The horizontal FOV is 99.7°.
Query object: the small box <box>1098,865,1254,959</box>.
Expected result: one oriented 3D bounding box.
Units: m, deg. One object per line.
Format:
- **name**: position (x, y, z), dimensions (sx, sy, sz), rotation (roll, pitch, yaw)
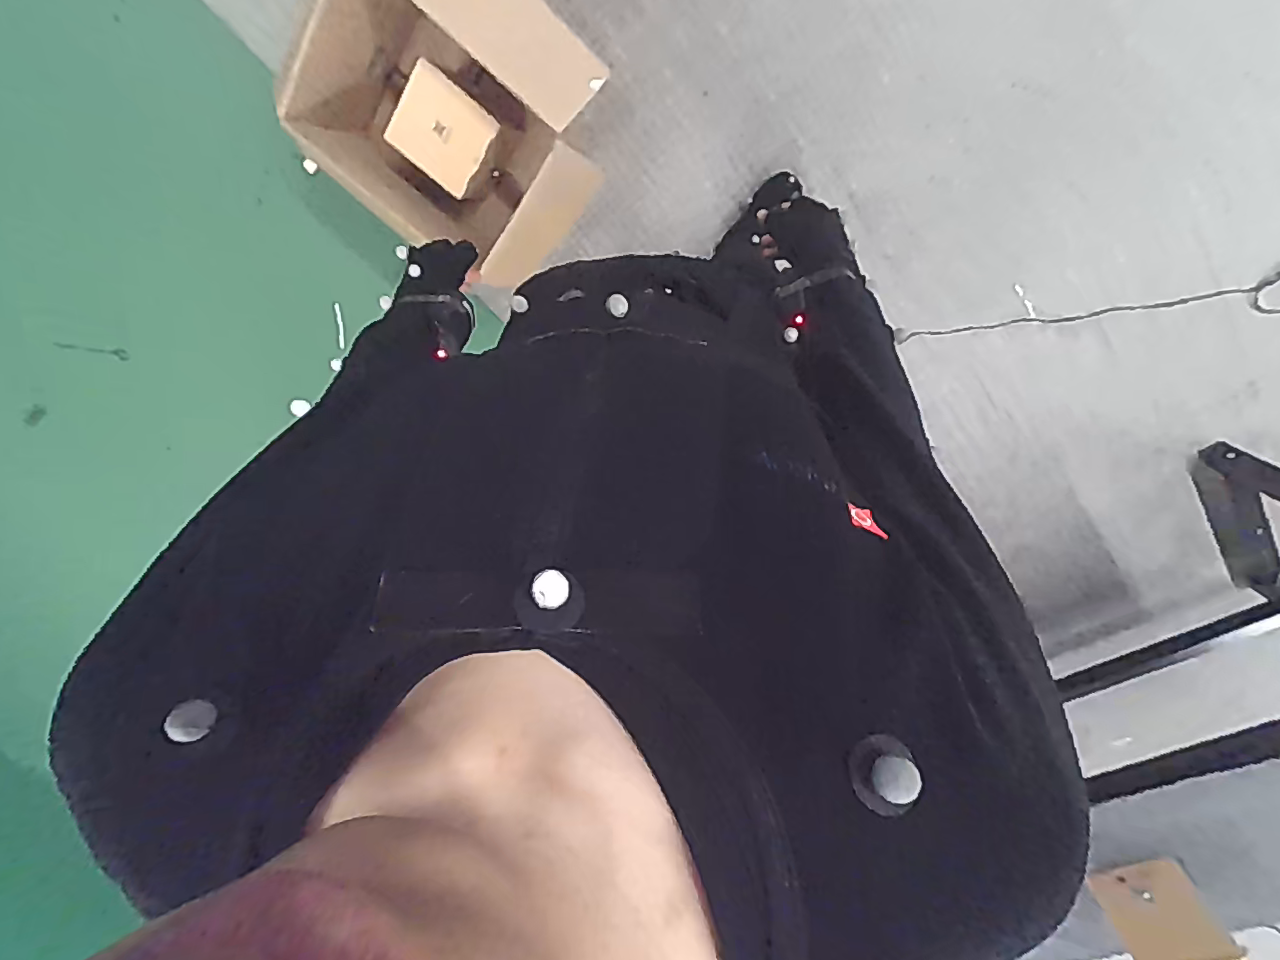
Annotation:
- **small box**: position (1.046, 0.887, 1.042), dimensions (0.168, 0.176, 0.179), rotation (-34, 110, 20)
